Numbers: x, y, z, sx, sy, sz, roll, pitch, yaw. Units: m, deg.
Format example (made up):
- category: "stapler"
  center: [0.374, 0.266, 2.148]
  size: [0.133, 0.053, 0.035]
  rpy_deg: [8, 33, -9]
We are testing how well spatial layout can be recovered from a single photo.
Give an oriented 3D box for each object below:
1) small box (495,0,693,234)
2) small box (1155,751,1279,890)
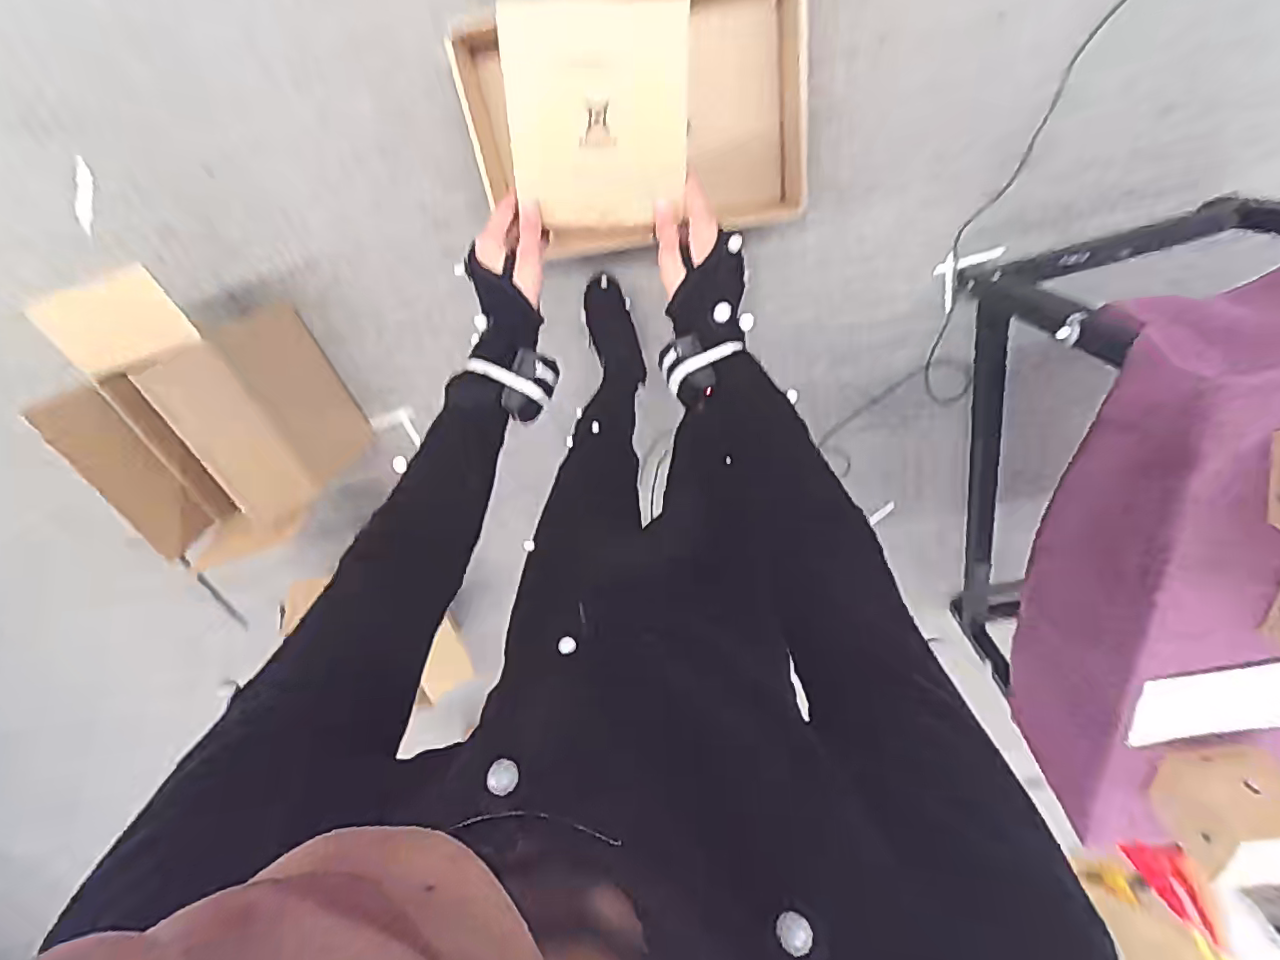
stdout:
- category: "small box"
  center: [-0.038, -0.359, 0.552]
  size: [0.168, 0.176, 0.179]
  rpy_deg: [-2, 122, -1]
- category: "small box"
  center: [1.143, 0.638, 1.028]
  size: [0.168, 0.176, 0.179]
  rpy_deg: [-11, 121, 8]
